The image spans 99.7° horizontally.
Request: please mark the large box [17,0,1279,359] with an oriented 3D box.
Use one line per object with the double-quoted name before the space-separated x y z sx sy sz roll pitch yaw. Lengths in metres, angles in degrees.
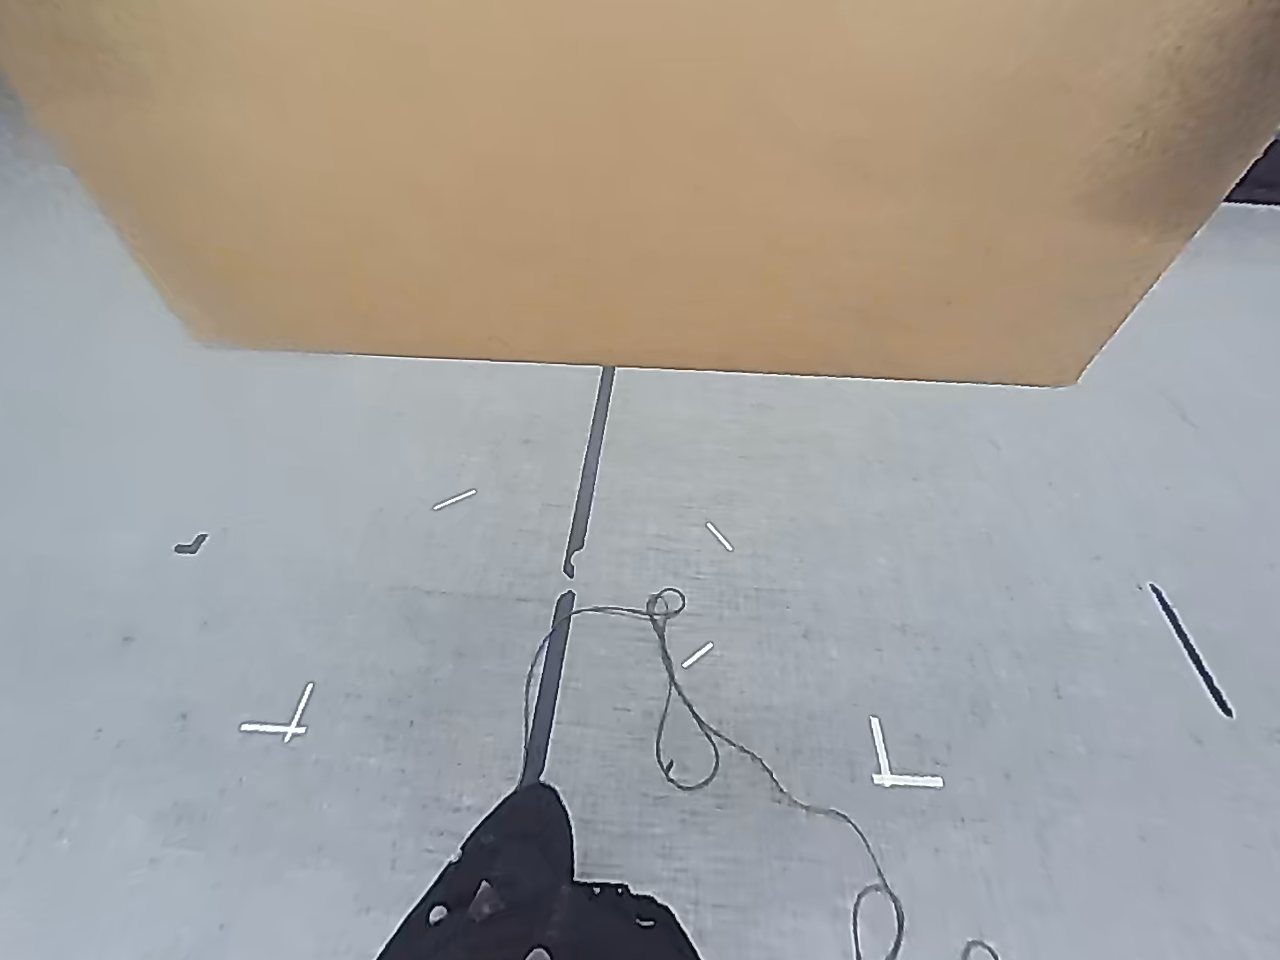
"large box" 0.009 -0.273 0.240 0.408 0.320 0.320 3 50 -1
